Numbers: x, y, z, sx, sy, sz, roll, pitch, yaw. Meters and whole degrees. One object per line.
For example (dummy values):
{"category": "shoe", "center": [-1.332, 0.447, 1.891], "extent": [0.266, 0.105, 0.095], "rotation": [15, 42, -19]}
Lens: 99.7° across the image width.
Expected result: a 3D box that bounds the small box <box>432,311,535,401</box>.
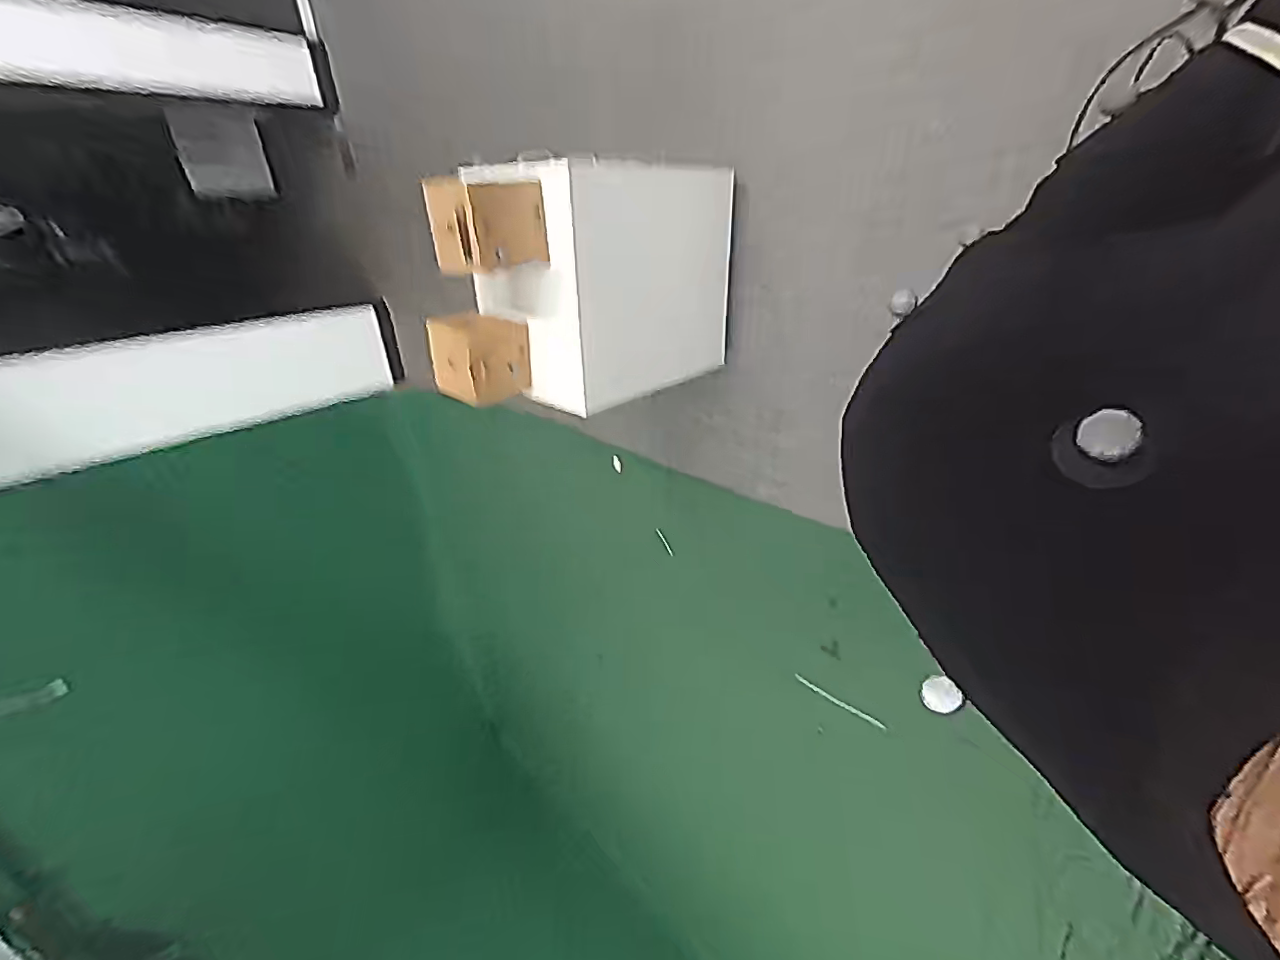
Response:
{"category": "small box", "center": [-0.375, -0.309, 1.311], "extent": [0.179, 0.176, 0.168], "rotation": [25, 126, 35]}
